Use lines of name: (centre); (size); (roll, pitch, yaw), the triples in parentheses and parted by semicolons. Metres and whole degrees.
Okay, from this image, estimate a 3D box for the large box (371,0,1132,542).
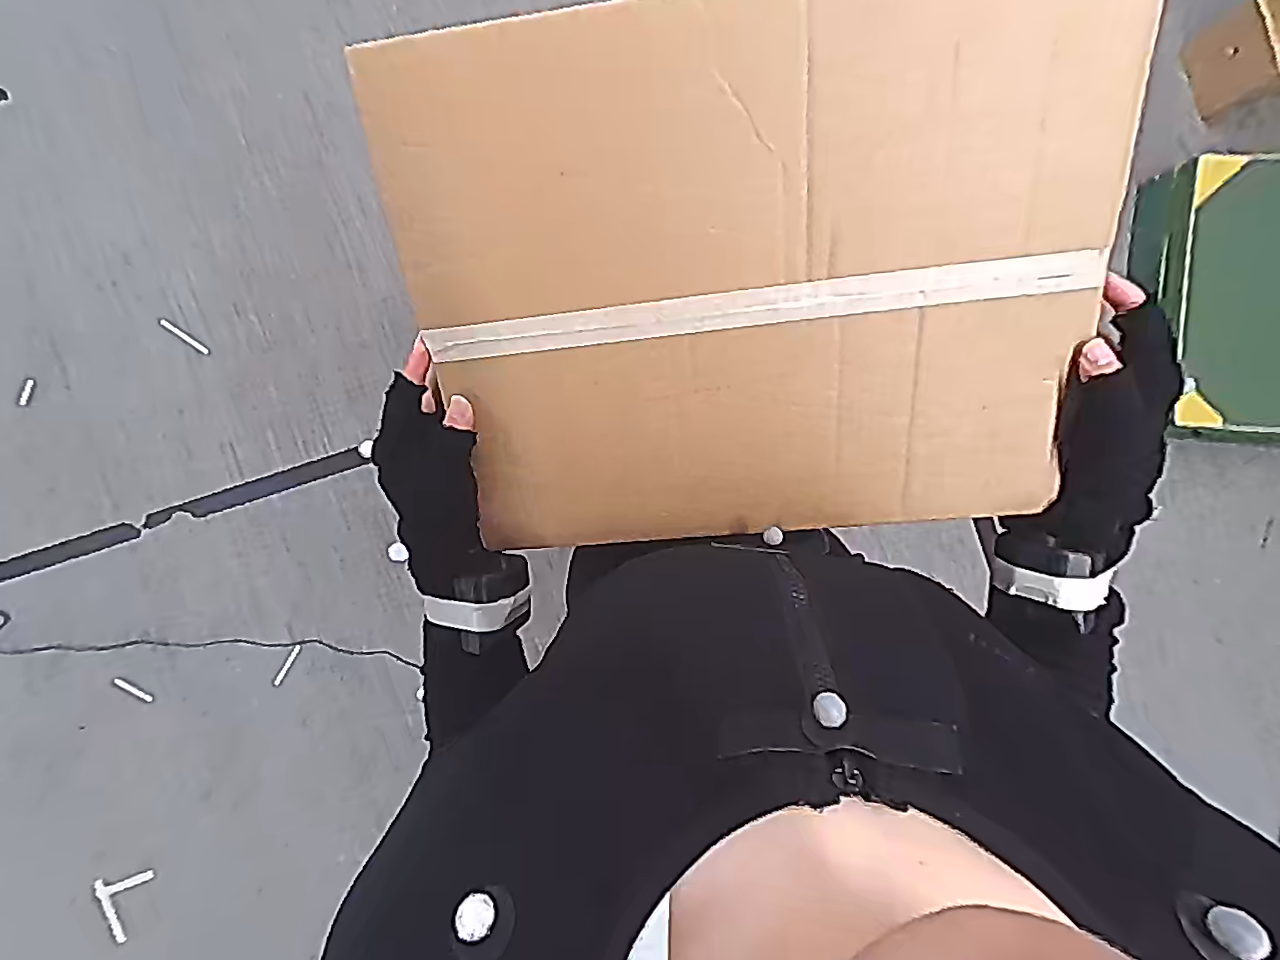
large box: (0.070, -0.168, 0.473); (0.408, 0.320, 0.320); (-5, 115, 6)
